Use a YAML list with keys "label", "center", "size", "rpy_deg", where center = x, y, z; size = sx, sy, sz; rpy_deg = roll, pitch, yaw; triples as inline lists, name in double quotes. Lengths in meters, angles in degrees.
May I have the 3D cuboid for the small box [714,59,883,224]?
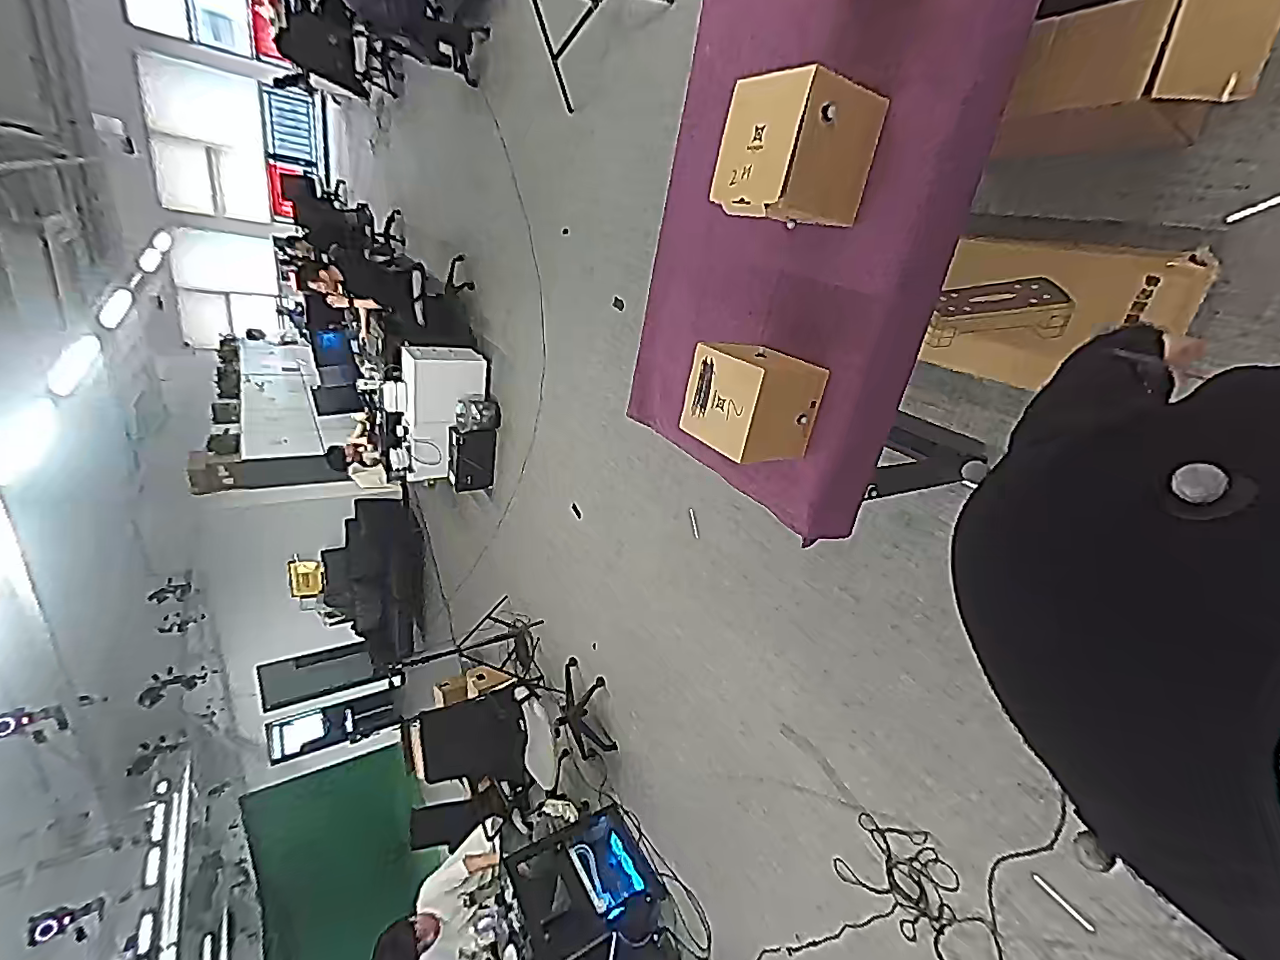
- label: "small box"
  center: [0.245, -0.514, 0.842]
  size: [0.168, 0.176, 0.179]
  rpy_deg: [40, 128, 49]
